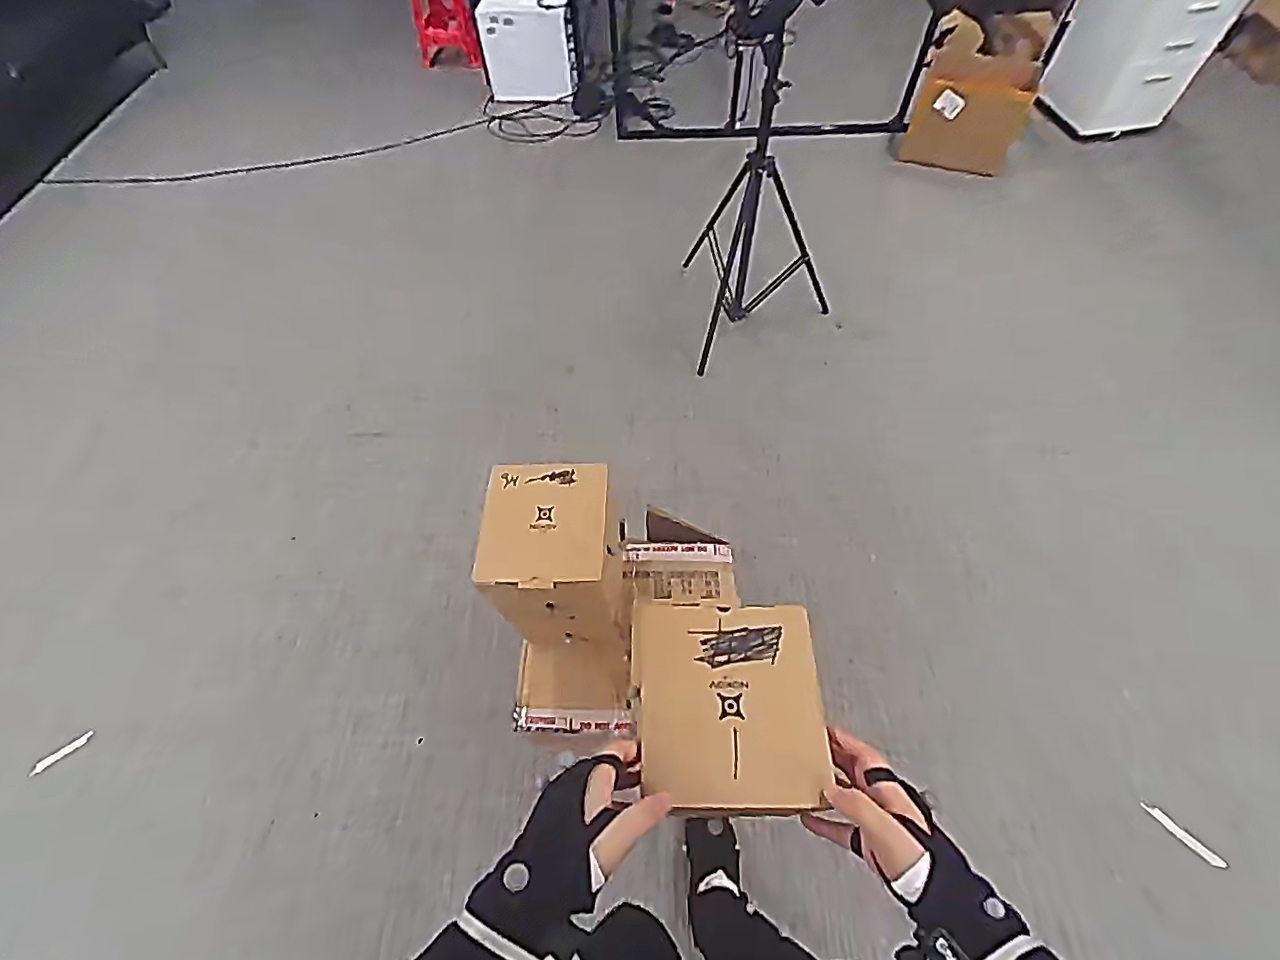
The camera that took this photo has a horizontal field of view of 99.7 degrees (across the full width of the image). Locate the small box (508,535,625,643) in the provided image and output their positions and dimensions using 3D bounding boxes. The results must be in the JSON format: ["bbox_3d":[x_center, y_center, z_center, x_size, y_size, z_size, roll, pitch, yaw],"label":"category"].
[{"bbox_3d":[-0.117,0.172,0.928,0.168,0.176,0.179,-3,60,3],"label":"small box"}]

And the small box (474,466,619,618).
[{"bbox_3d":[-0.121,0.097,0.781,0.168,0.176,0.179,-1,61,3],"label":"small box"}]

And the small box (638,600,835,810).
[{"bbox_3d":[0.082,0.238,0.565,0.168,0.176,0.179,0,57,-1],"label":"small box"}]
